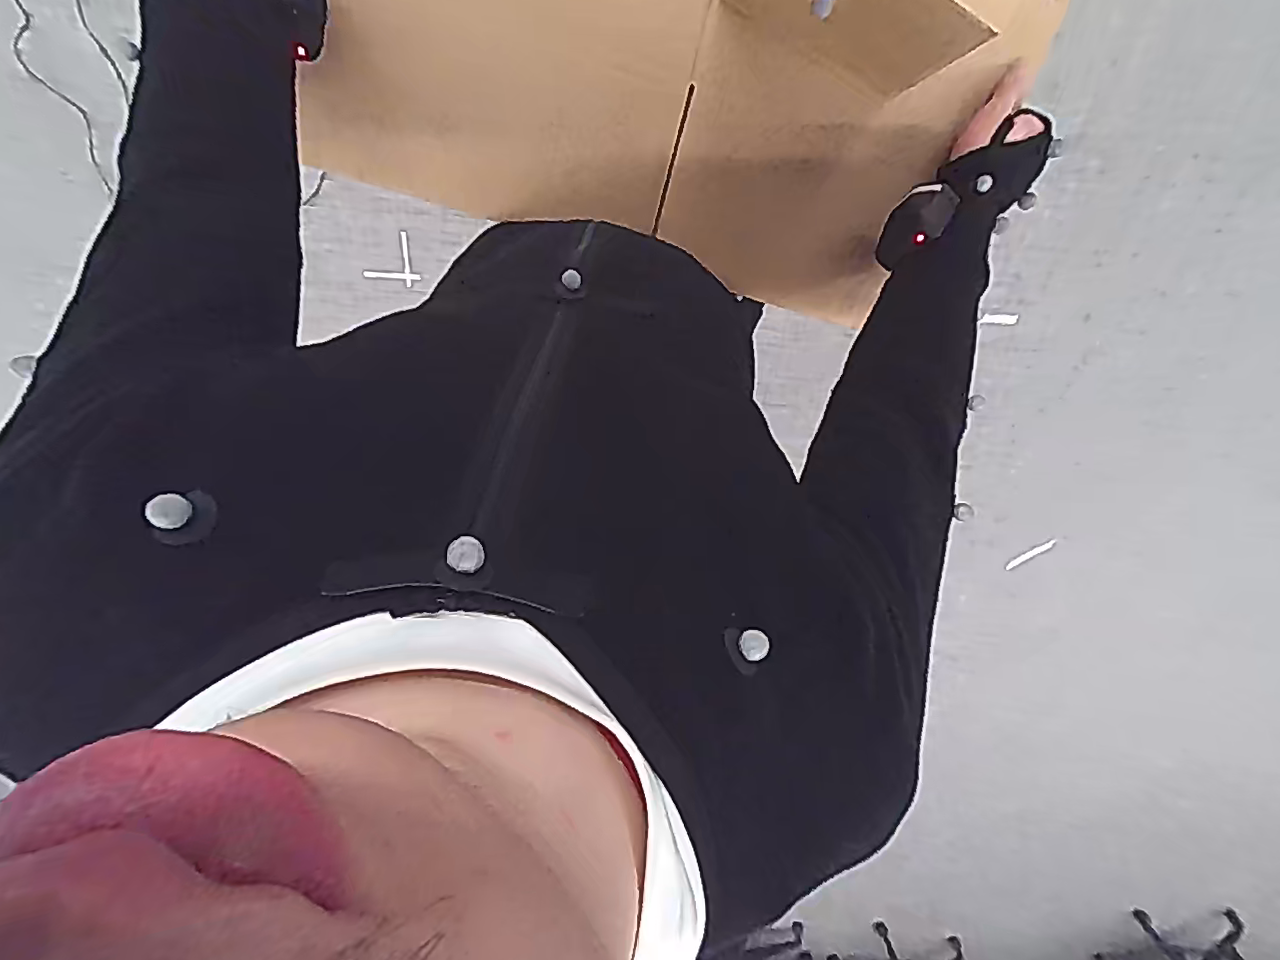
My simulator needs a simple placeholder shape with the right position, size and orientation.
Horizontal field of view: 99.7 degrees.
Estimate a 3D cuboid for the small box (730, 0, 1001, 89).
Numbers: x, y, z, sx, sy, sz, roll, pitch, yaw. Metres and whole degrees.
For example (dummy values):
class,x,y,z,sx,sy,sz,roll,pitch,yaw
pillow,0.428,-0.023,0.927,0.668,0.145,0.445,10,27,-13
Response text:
class,x,y,z,sx,sy,sz,roll,pitch,yaw
small box,0.179,-0.421,0.383,0.179,0.176,0.168,24,110,-9
